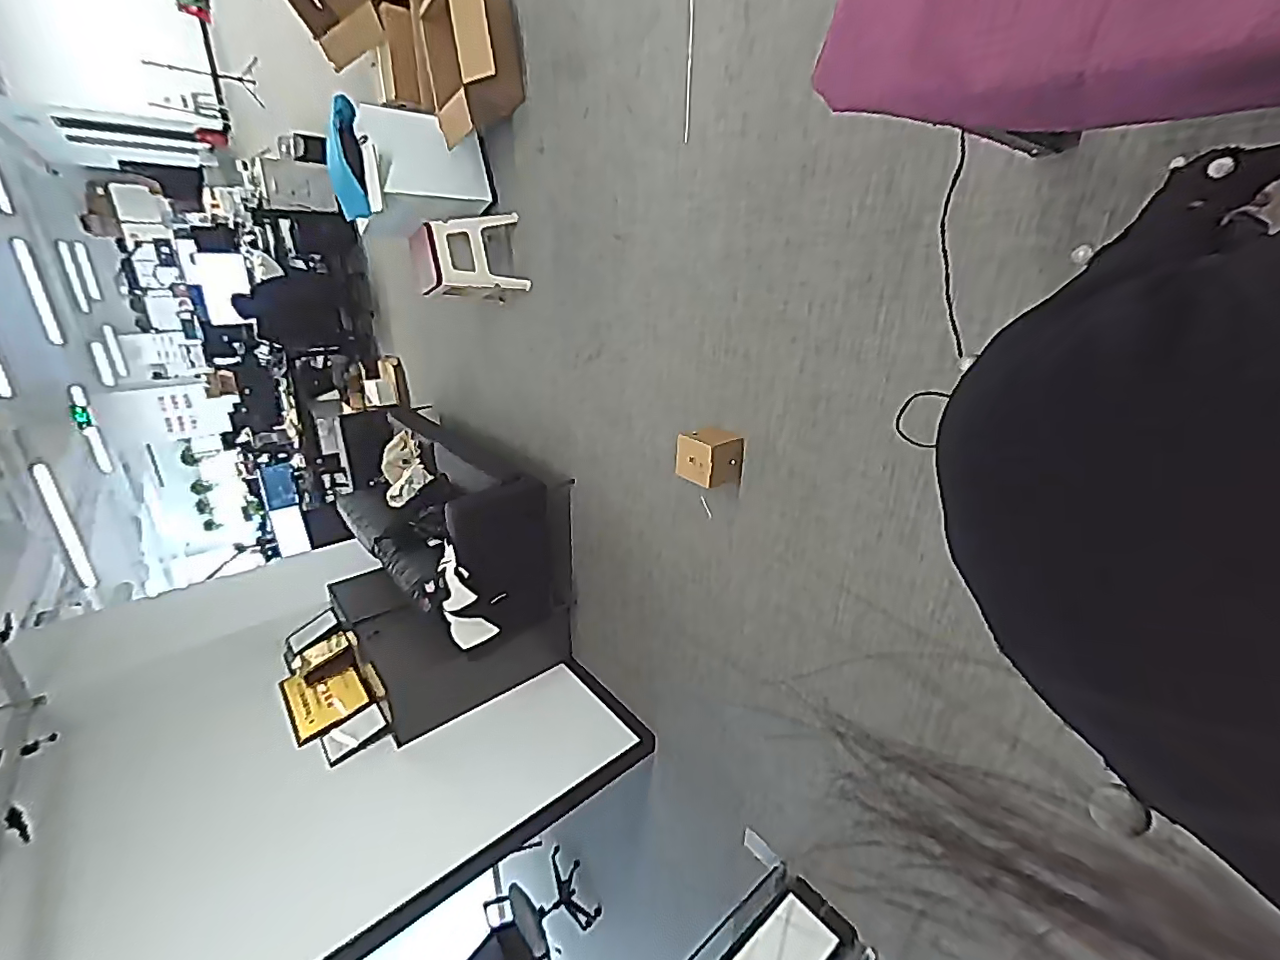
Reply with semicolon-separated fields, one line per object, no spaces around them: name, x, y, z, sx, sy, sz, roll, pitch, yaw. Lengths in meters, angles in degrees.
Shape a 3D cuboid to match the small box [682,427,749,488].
small box;0.280;-0.091;2.007;0.179;0.176;0.168;26;124;44
